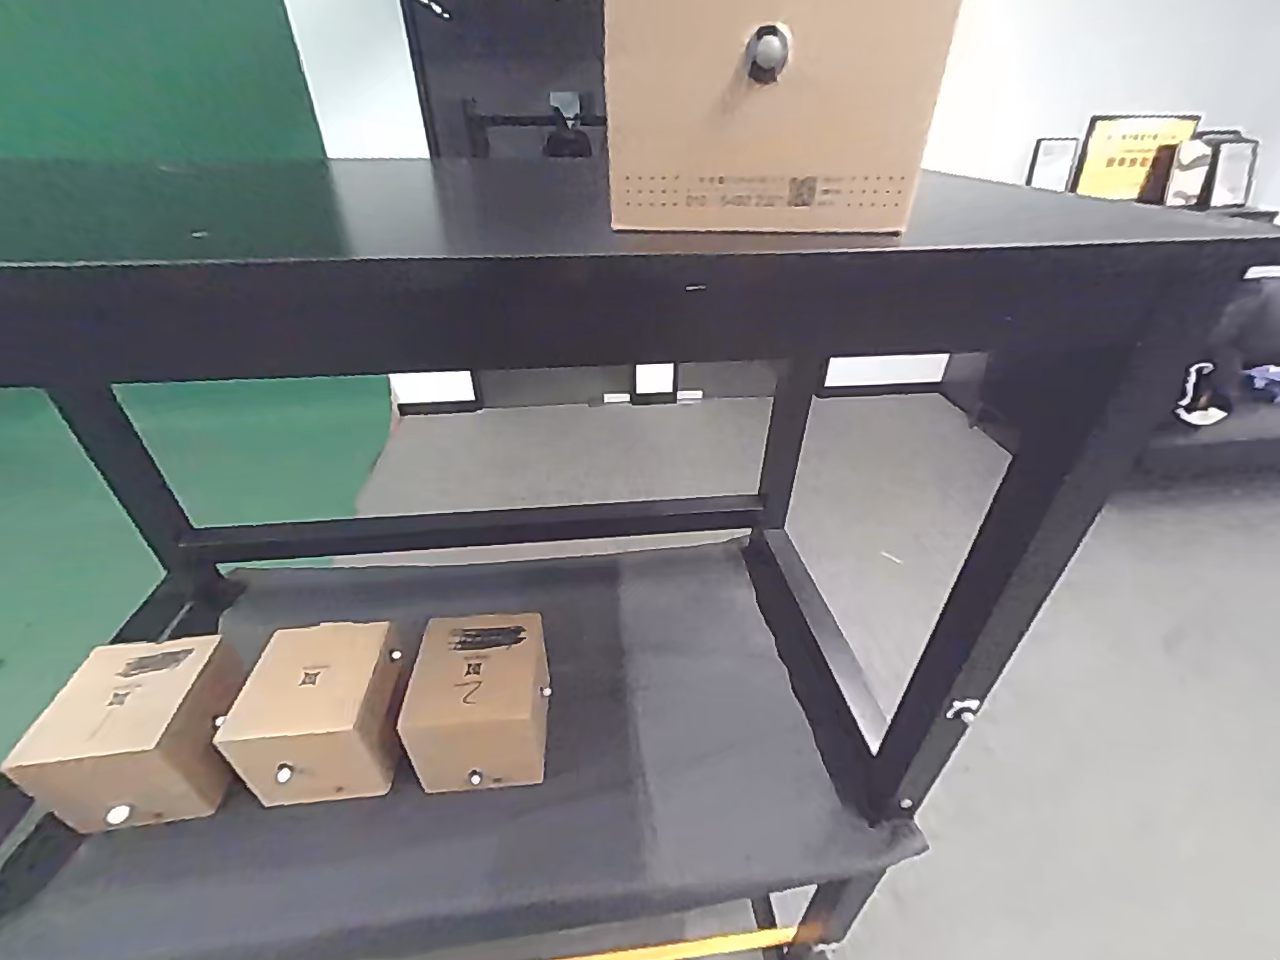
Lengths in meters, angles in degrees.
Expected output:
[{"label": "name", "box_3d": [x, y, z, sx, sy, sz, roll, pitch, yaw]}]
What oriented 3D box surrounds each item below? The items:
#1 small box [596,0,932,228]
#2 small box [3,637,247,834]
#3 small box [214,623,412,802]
[{"label": "small box", "box_3d": [0.065, -0.258, 0.333, 0.168, 0.176, 0.179, 2, 33, 2]}, {"label": "small box", "box_3d": [-0.666, 0.345, 0.742, 0.168, 0.176, 0.179, -4, 34, -7]}, {"label": "small box", "box_3d": [-0.441, 0.332, 0.768, 0.168, 0.176, 0.179, -3, 33, -5]}]
